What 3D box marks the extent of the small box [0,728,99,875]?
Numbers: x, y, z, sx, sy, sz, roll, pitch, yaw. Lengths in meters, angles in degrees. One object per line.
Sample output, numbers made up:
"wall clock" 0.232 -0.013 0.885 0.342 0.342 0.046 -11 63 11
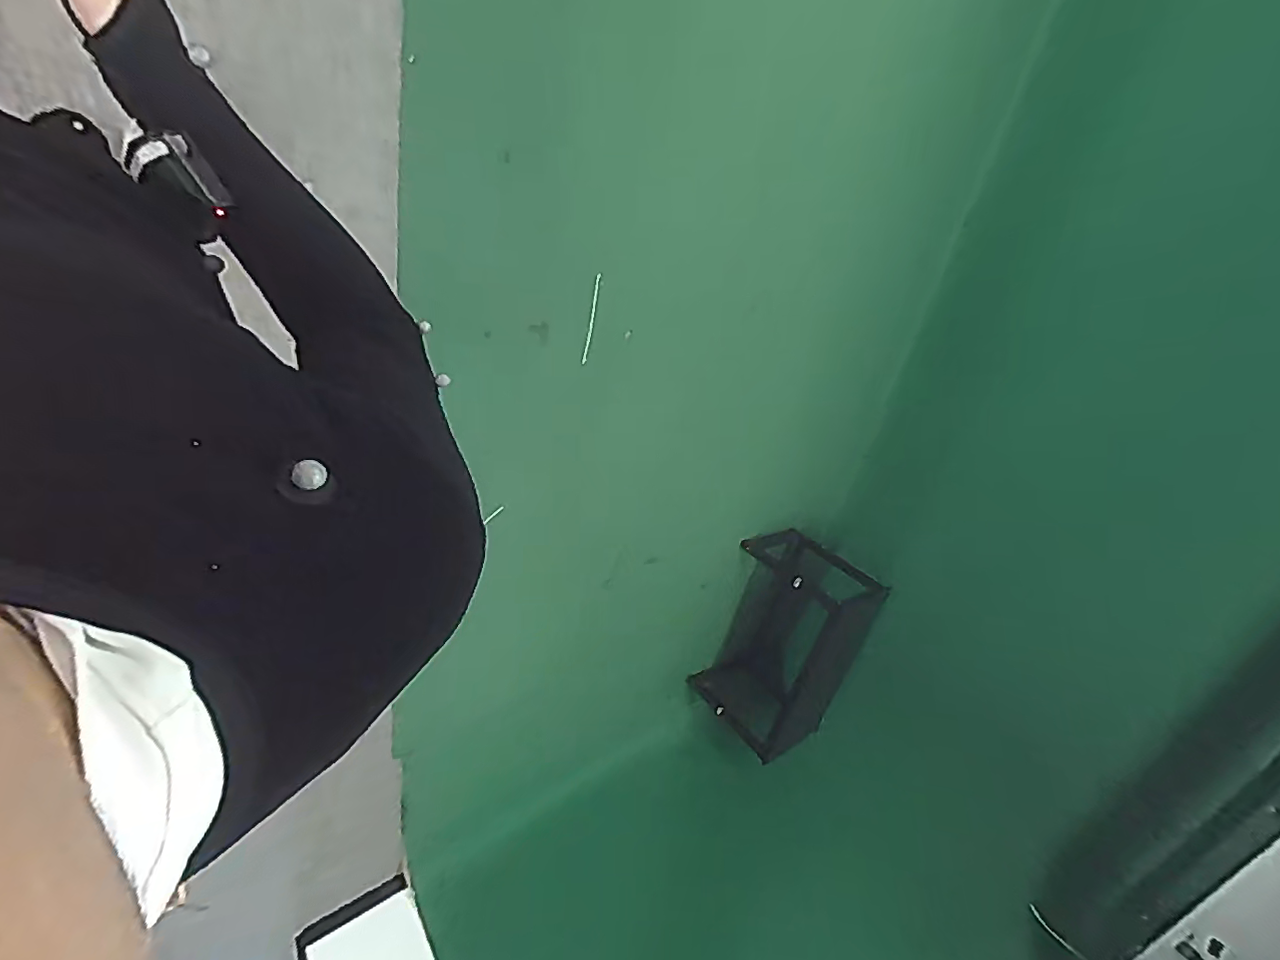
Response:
"small box" -1.176 0.614 1.047 0.168 0.176 0.179 -6 123 -41
